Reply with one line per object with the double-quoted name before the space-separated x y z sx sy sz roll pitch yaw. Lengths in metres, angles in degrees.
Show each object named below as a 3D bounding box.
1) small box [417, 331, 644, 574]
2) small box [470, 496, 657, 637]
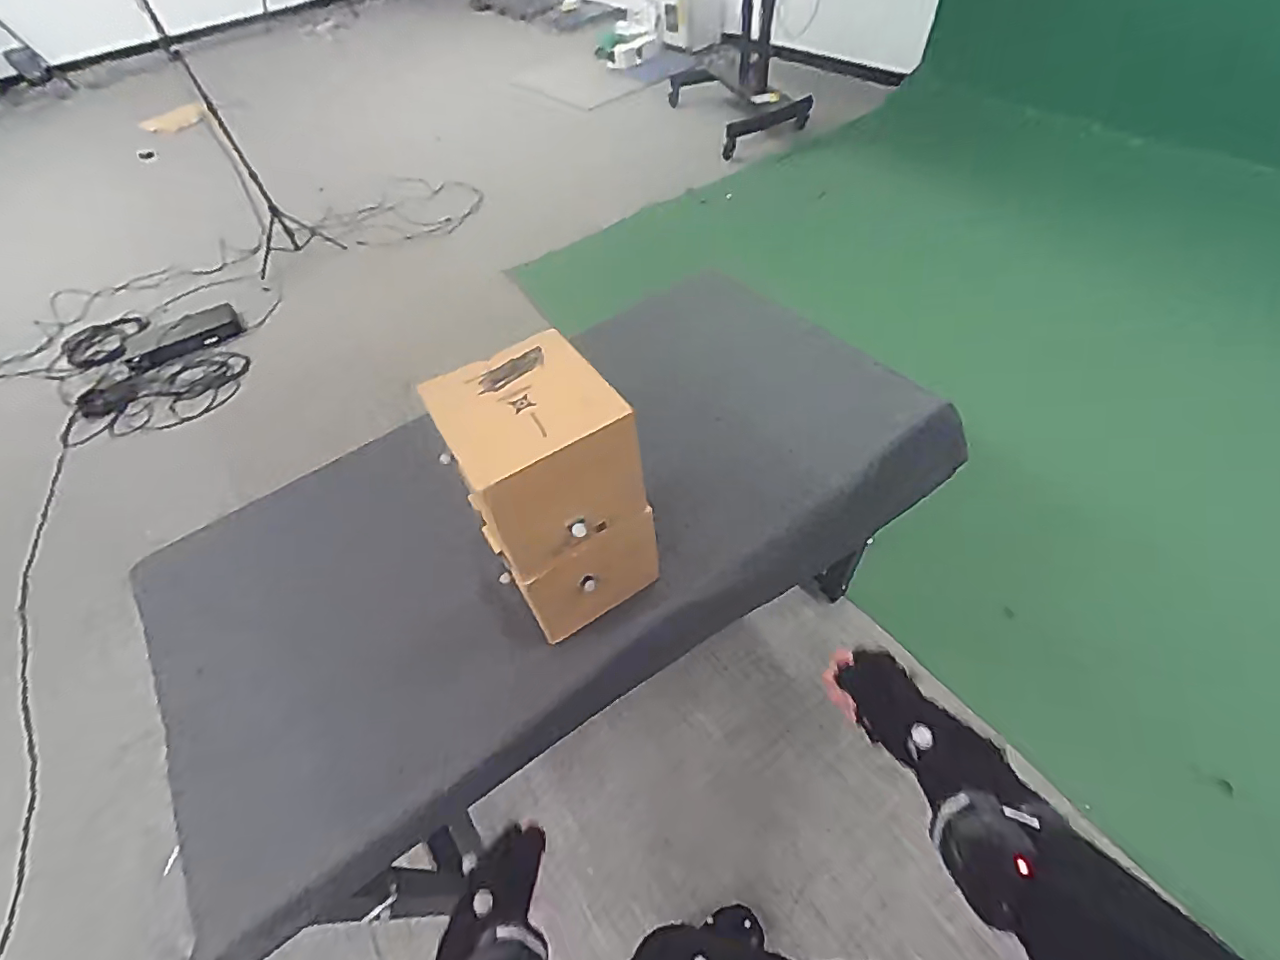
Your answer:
"small box" -0.113 -0.030 0.603 0.168 0.176 0.179 -32 53 -17
"small box" -0.093 0.078 0.725 0.179 0.176 0.168 -31 54 -15
